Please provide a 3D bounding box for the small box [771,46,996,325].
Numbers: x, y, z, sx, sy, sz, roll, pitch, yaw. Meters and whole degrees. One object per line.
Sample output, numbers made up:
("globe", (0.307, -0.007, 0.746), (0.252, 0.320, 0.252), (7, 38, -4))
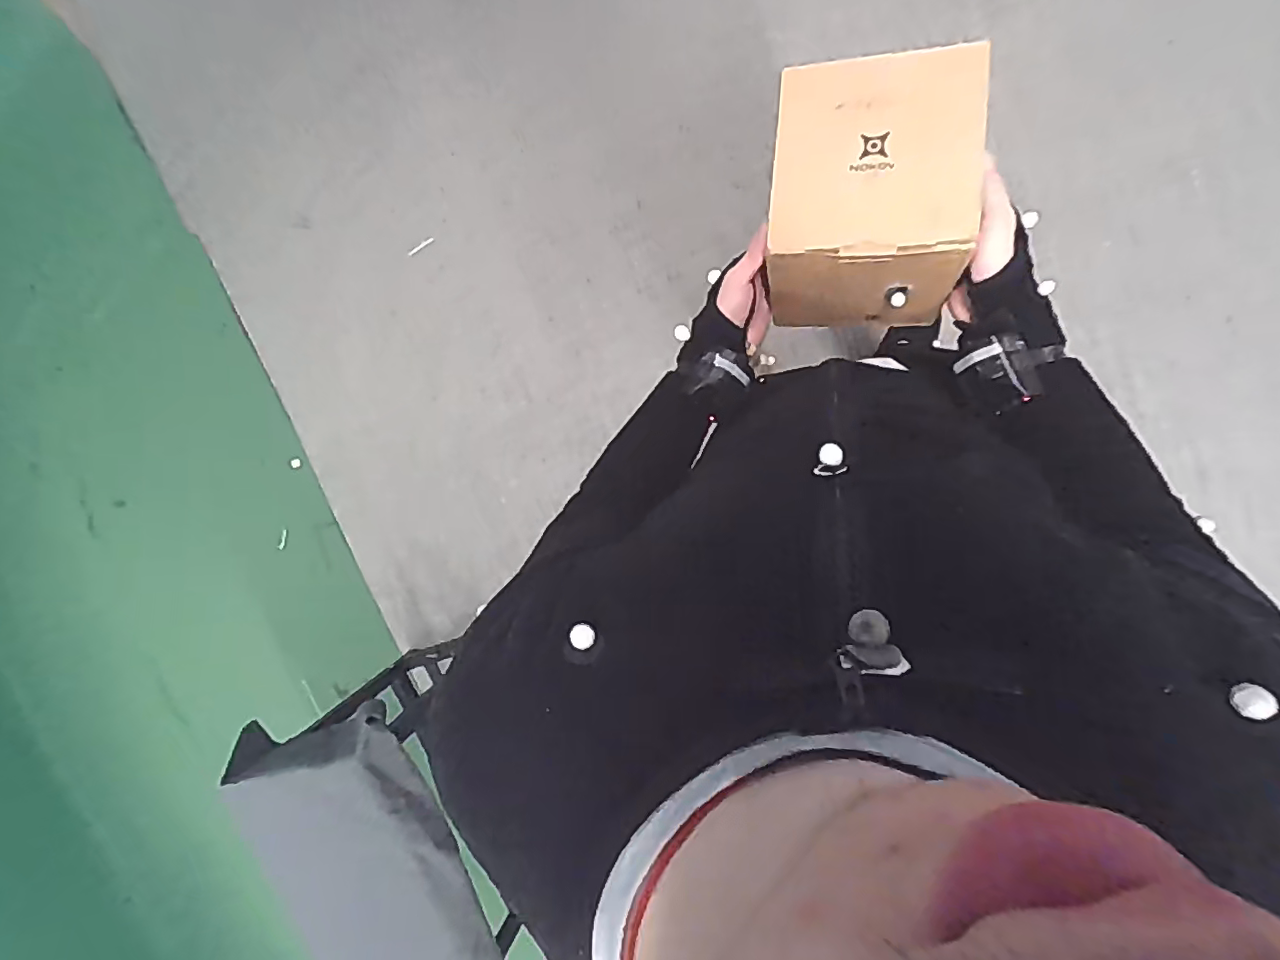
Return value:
("small box", (0.222, -0.264, 0.529), (0.168, 0.176, 0.179), (5, 83, 15))
